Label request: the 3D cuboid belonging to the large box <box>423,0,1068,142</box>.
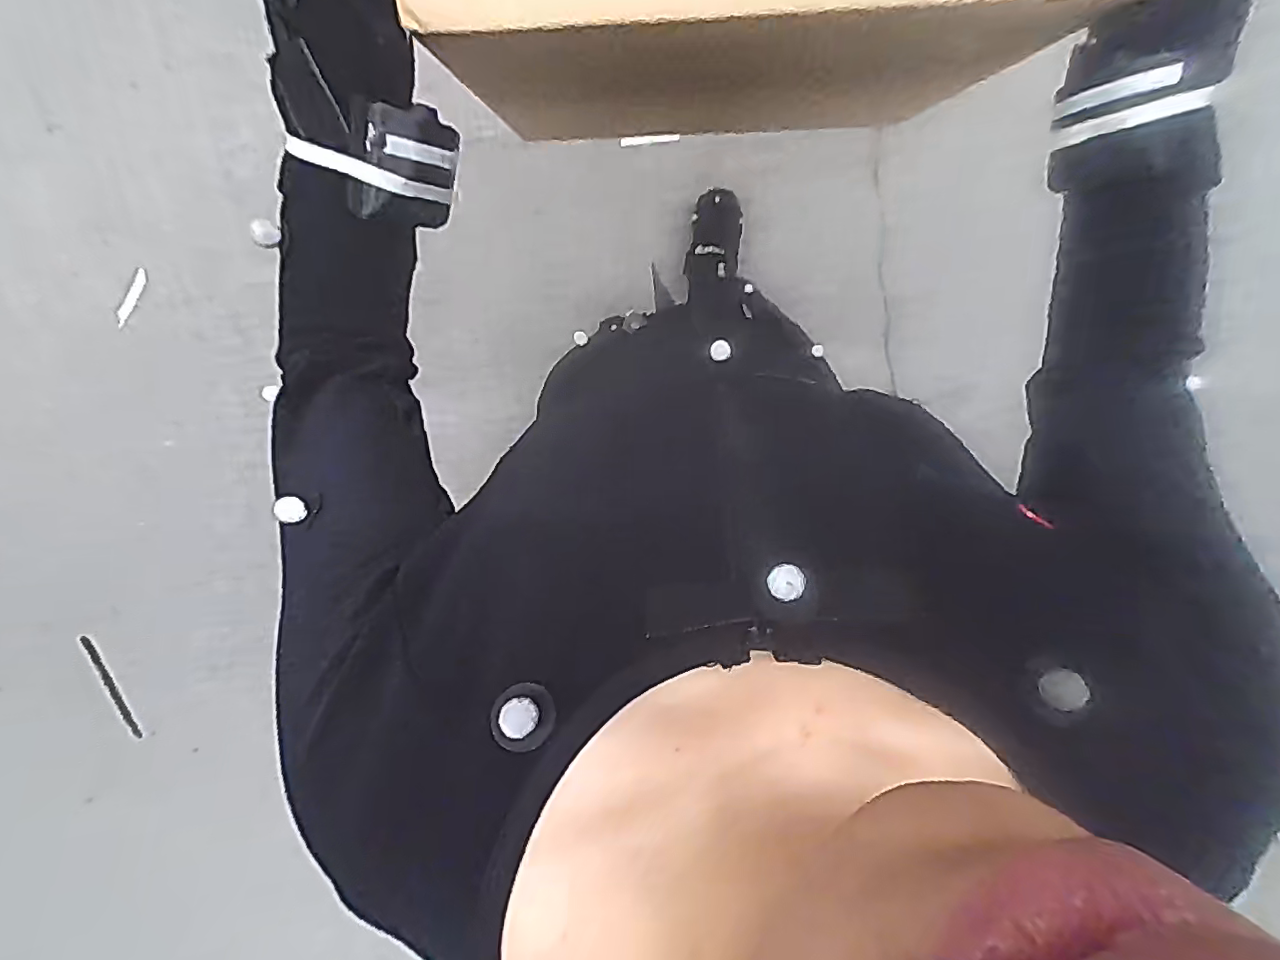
[{"bbox_3d":[0.065,-0.462,0.383,0.408,0.320,0.320,-3,112,1],"label":"large box"}]
